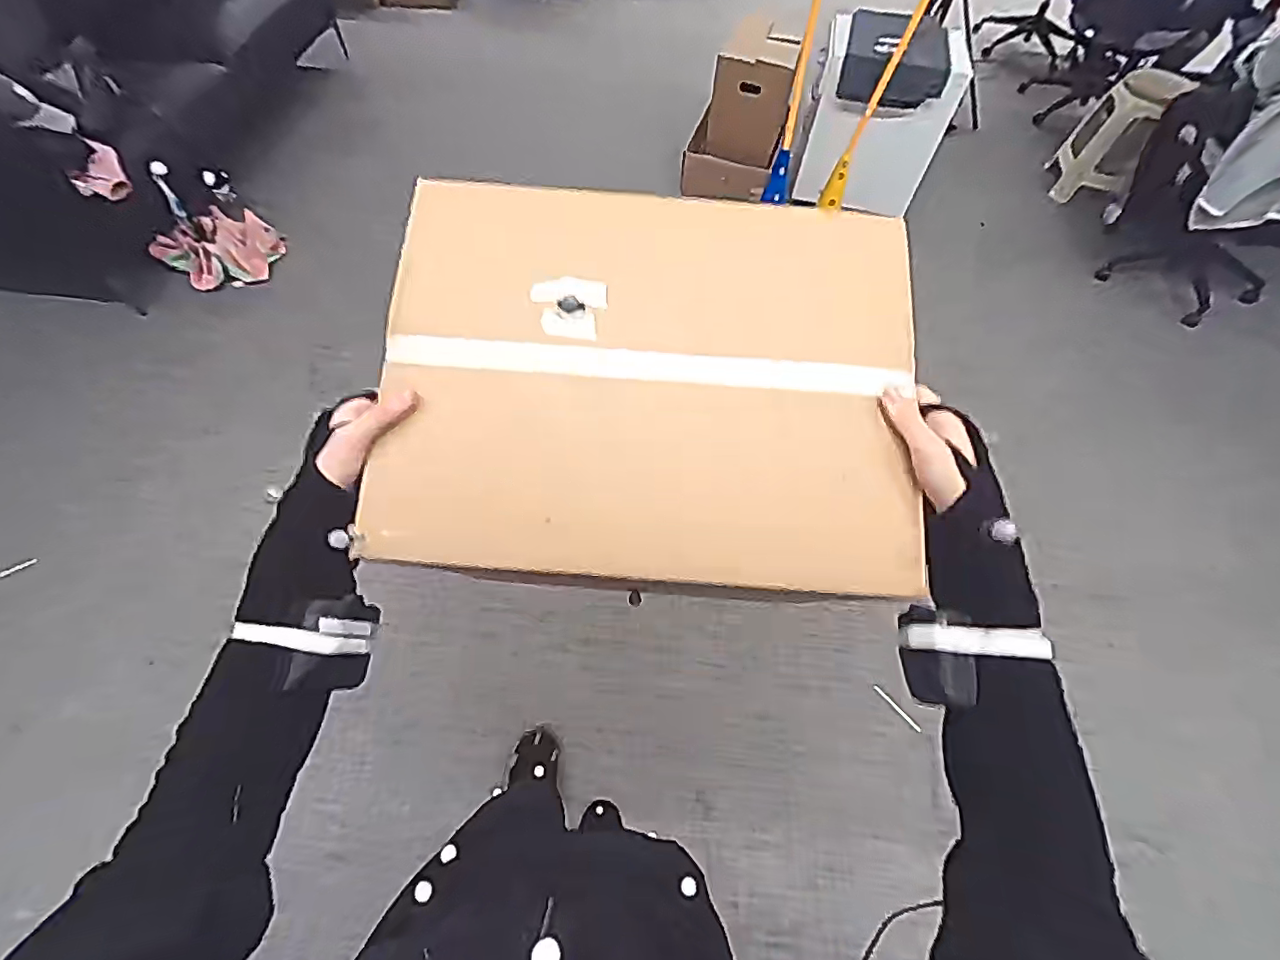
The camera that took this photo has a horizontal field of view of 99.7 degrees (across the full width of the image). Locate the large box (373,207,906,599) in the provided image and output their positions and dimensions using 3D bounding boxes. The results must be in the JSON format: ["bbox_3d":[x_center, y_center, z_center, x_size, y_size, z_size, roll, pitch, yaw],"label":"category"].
[{"bbox_3d":[0.009,-0.043,0.575,0.408,0.320,0.320,4,76,1],"label":"large box"}]
